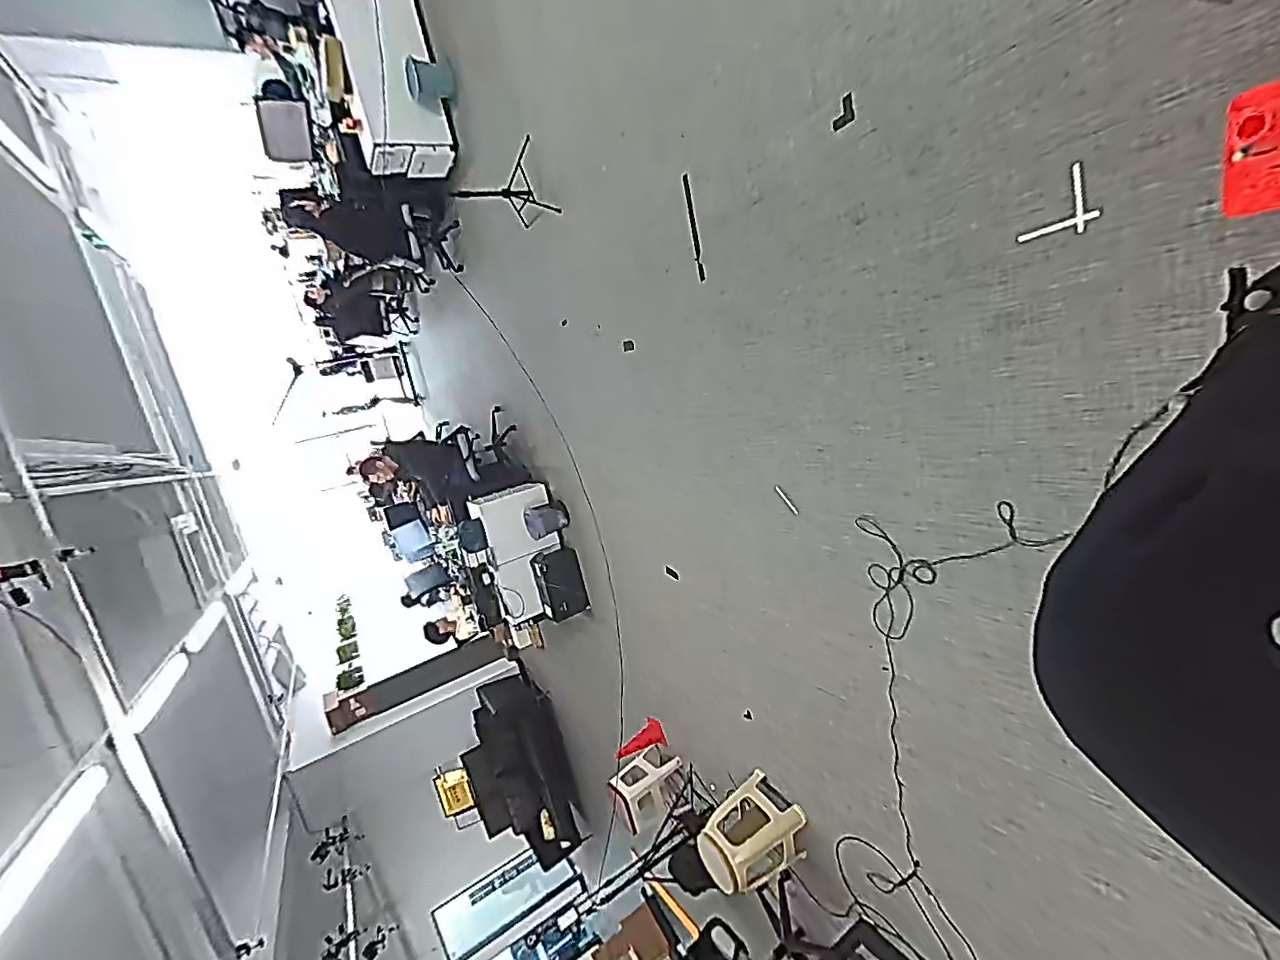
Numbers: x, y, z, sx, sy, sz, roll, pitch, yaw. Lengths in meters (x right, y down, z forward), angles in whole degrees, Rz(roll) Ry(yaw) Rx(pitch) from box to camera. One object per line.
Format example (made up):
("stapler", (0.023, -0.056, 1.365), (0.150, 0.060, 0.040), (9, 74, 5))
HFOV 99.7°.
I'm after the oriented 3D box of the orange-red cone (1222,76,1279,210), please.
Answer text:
("orange-red cone", (0.928, -0.511, 0.780), (0.199, 0.360, 0.198), (15, 118, 59))
